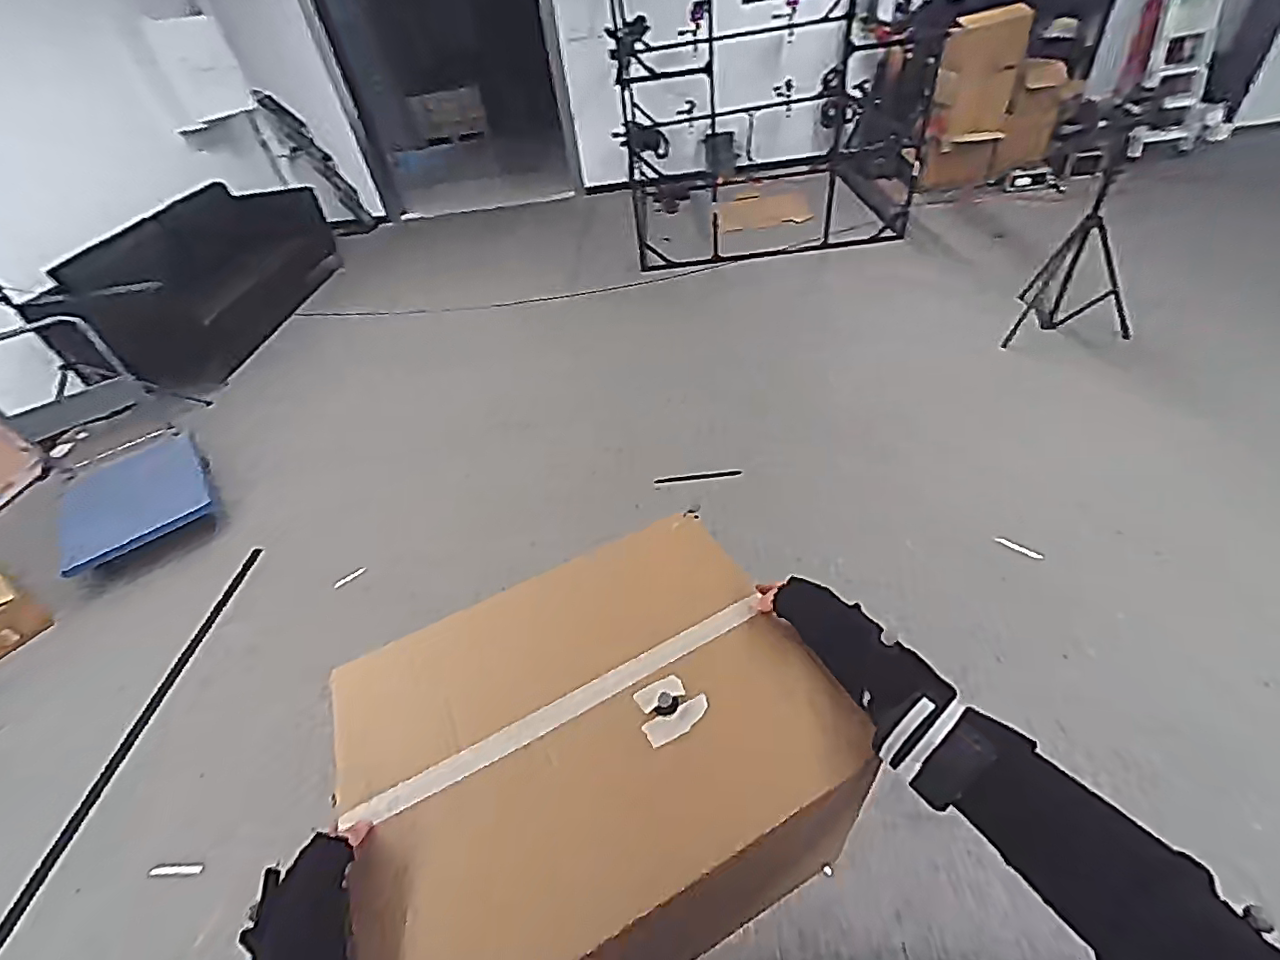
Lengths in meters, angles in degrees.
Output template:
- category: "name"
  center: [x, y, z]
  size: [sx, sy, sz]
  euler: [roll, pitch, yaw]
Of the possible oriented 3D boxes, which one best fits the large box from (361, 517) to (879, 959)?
- category: "large box"
  center: [-0.025, 0.313, 0.591]
  size: [0.408, 0.320, 0.320]
  euler: [-23, 44, -15]
